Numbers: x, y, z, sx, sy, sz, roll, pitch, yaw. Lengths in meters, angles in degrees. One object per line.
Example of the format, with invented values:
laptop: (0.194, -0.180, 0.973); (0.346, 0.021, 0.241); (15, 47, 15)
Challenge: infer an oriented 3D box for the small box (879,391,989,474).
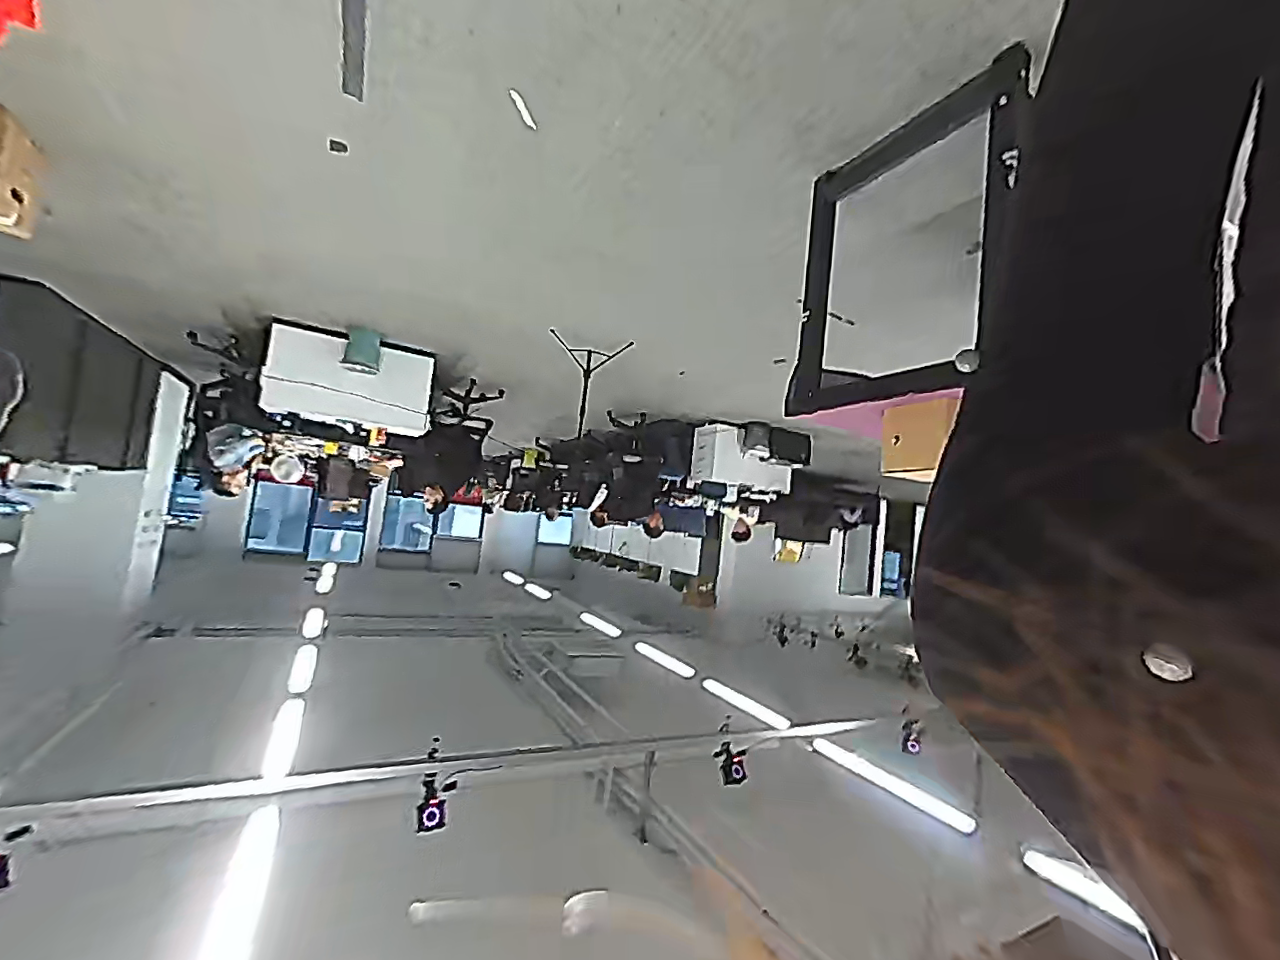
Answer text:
small box: (0.715, -0.110, 1.314); (0.168, 0.176, 0.179); (7, 176, -25)
